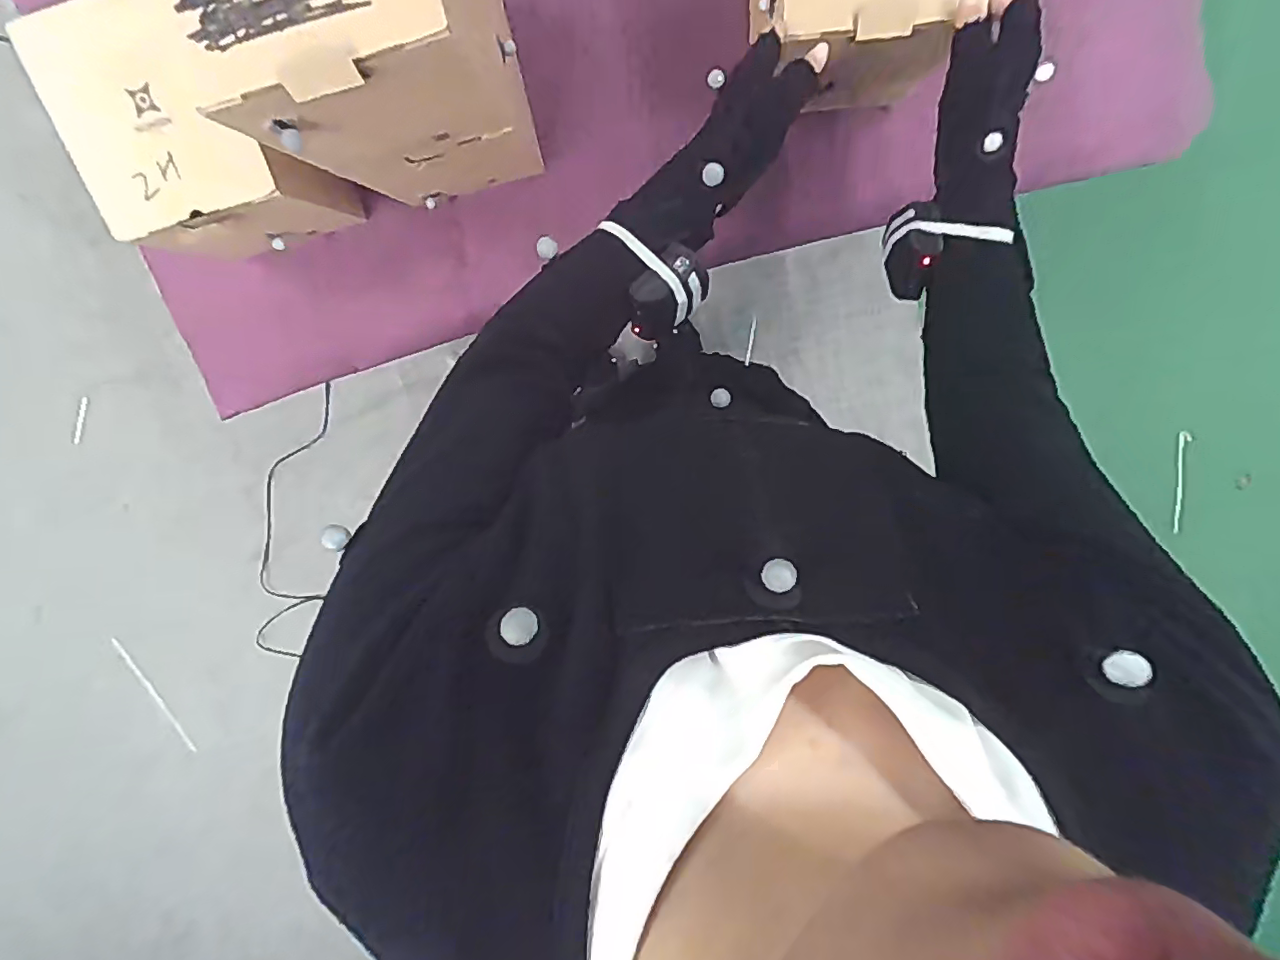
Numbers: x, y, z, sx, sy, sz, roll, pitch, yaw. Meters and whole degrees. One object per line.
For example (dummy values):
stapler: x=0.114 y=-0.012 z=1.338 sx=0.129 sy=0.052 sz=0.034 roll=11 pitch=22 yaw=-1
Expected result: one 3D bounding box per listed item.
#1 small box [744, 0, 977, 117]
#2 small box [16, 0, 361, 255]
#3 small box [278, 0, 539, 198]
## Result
small box: x=0.192 y=-0.472 z=0.503 sx=0.168 sy=0.176 sz=0.179 roll=-2 pitch=105 yaw=2
small box: x=-0.424 y=-0.344 z=0.546 sx=0.168 sy=0.176 sz=0.179 roll=-14 pitch=107 yaw=4
small box: x=-0.209 y=-0.395 z=0.532 sx=0.168 sy=0.176 sz=0.179 roll=-13 pitch=107 yaw=4
